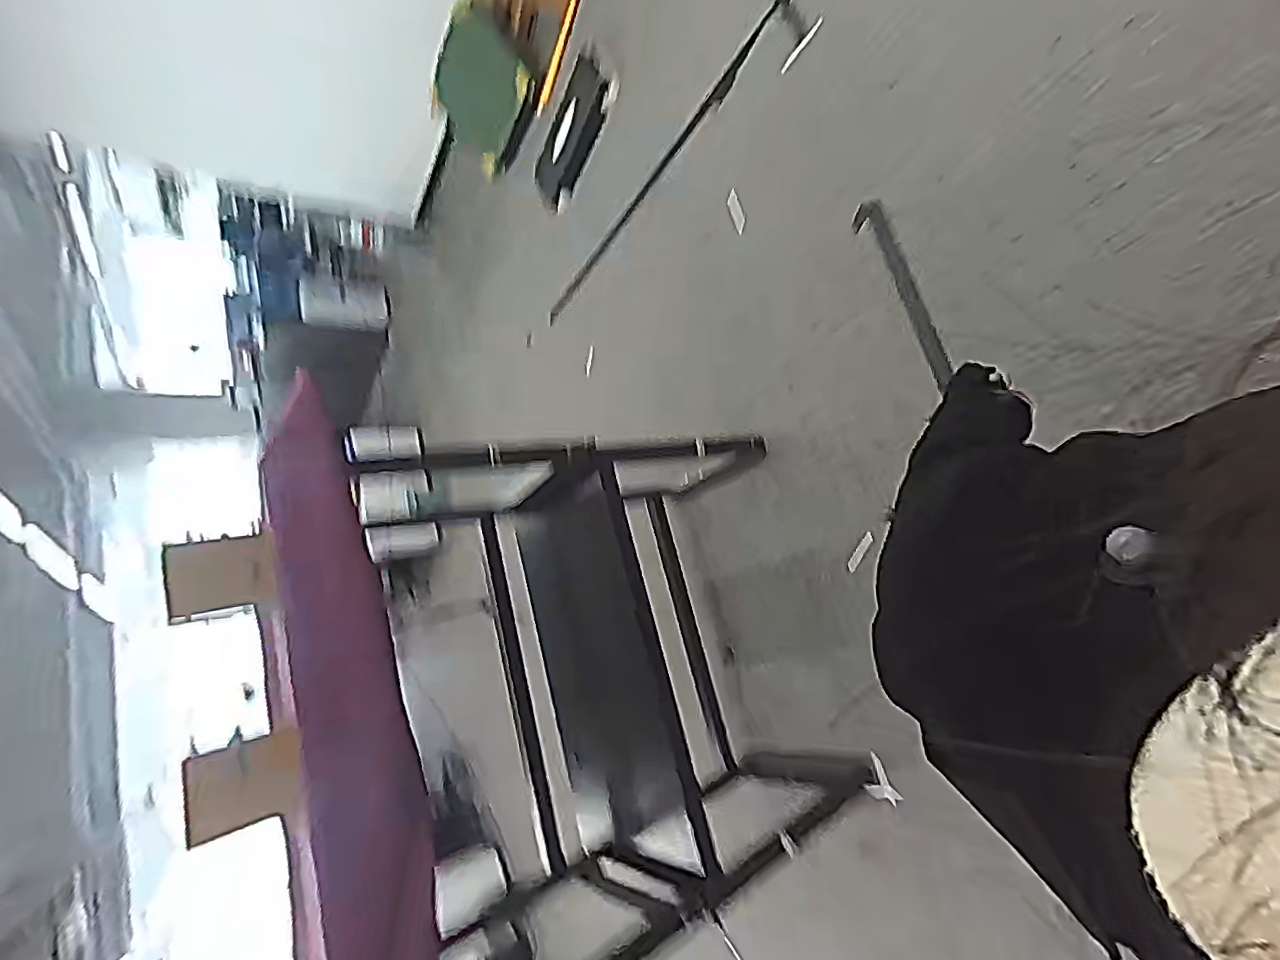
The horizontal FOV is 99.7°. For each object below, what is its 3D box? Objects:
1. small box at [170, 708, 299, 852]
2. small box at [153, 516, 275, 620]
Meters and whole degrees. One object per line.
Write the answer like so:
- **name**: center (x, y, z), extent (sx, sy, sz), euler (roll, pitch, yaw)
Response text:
- **small box**: center (-0.739, 0.532, 0.991), extent (0.168, 0.176, 0.179), euler (-29, 72, 51)
- **small box**: center (-0.833, 0.167, 1.063), extent (0.168, 0.176, 0.179), euler (-15, 83, 53)
